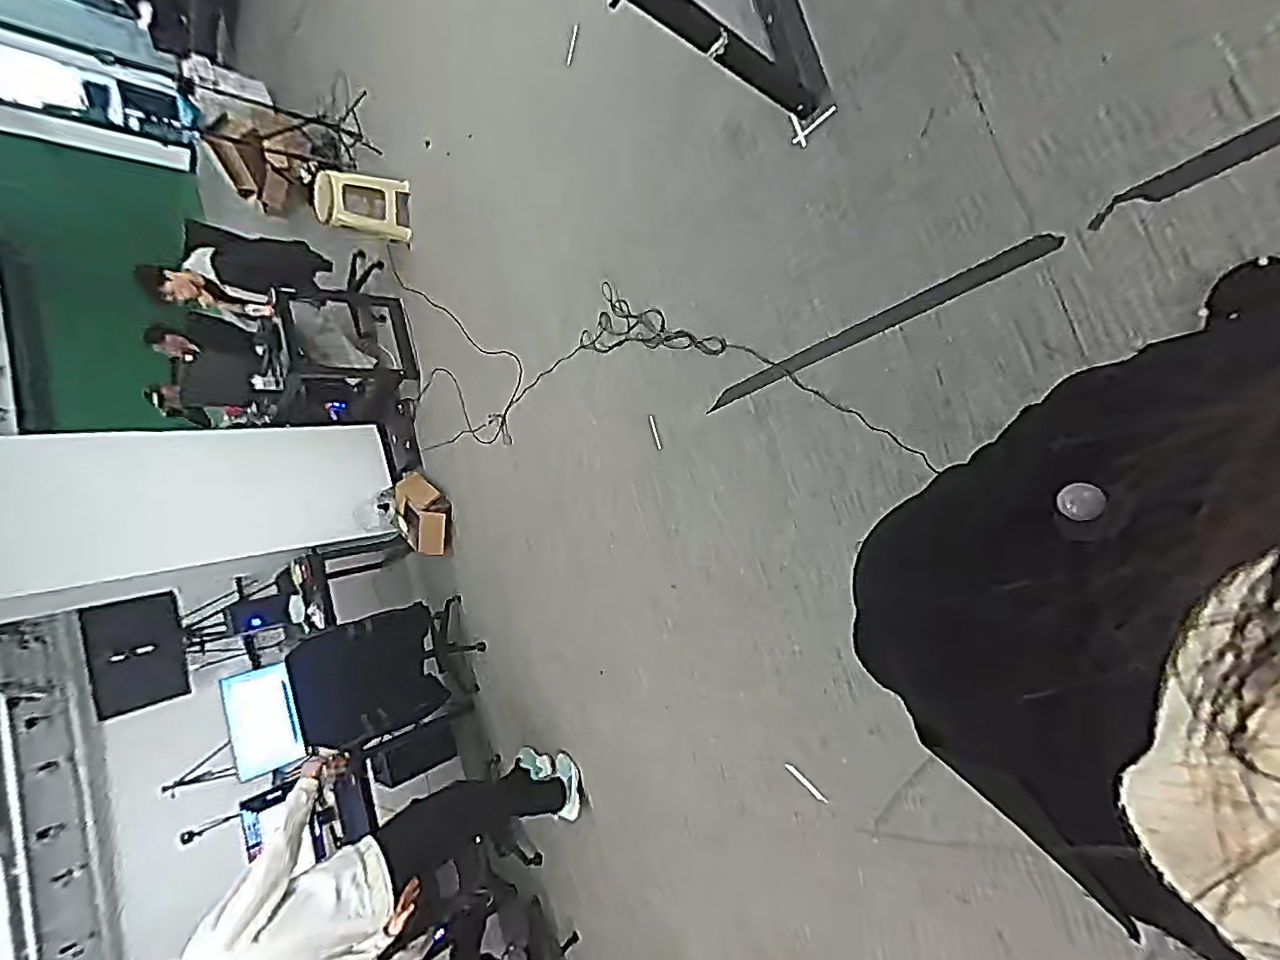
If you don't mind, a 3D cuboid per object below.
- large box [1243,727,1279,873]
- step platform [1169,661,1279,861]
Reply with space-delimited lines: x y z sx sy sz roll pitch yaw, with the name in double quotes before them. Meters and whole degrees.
"large box" 1.089 0.522 0.658 0.408 0.320 0.320 -21 82 45
"step platform" 1.271 0.463 0.806 0.684 0.204 0.286 -14 86 45
